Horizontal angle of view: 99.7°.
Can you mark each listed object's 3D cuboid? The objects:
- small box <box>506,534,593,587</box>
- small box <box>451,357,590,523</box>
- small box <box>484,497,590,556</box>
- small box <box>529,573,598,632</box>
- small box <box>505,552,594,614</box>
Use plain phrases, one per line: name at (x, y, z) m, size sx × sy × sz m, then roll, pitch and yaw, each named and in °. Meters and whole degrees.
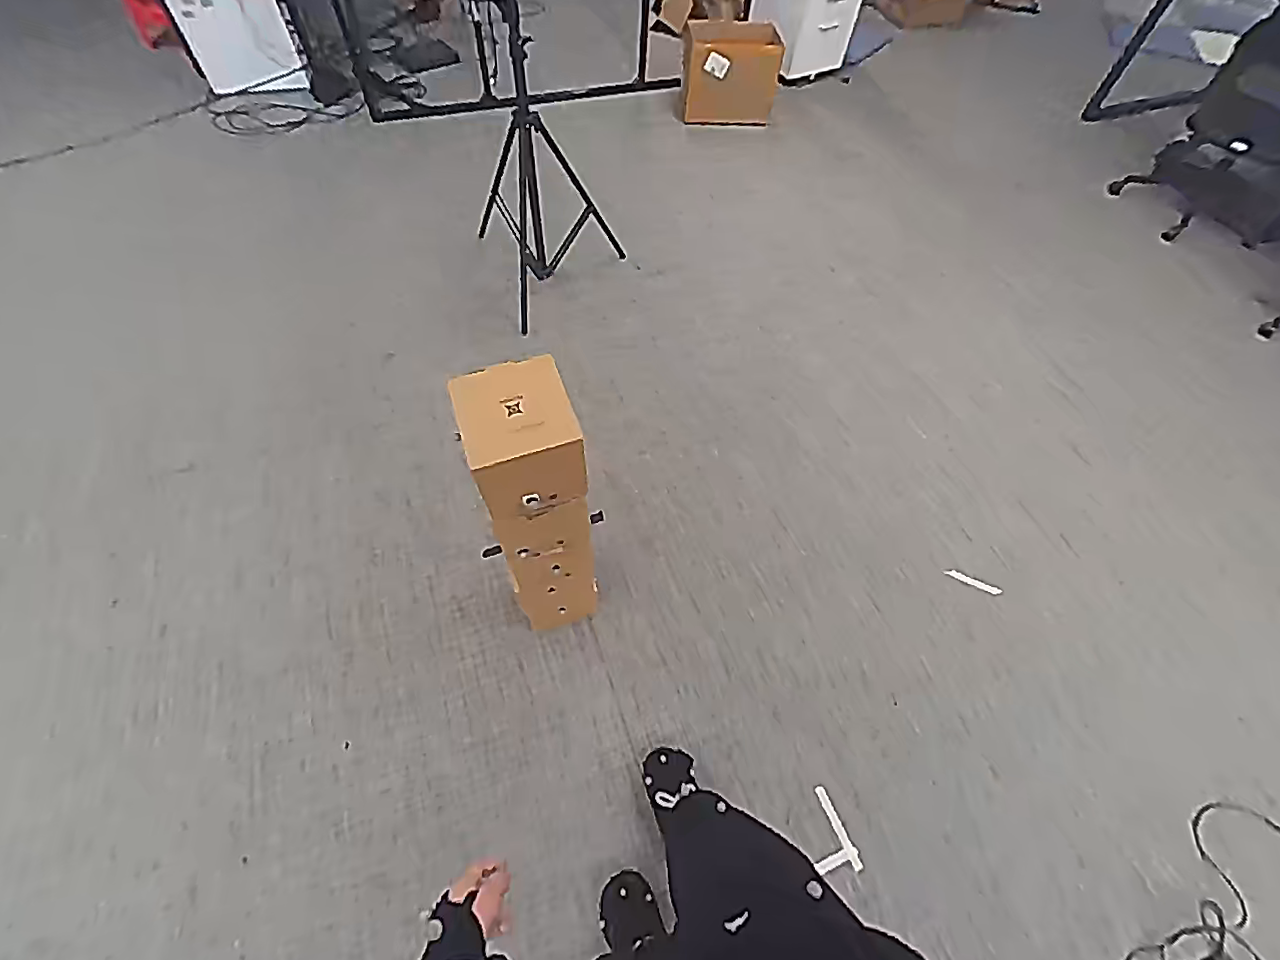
small box at (-0.197, 0.110, 1.134) m, size 0.168 × 0.176 × 0.179 m, roll -14°, pitch 62°, yaw -12°
small box at (-0.183, -0.060, 0.856) m, size 0.168 × 0.176 × 0.179 m, roll -18°, pitch 63°, yaw -12°
small box at (-0.193, 0.024, 0.994) m, size 0.168 × 0.176 × 0.179 m, roll -15°, pitch 60°, yaw -12°
small box at (-0.215, 0.278, 1.415) m, size 0.179 × 0.176 × 0.168 m, roll -16°, pitch 61°, yaw -12°
small box at (-0.212, 0.198, 1.271) m, size 0.179 × 0.176 × 0.168 m, roll -14°, pitch 62°, yaw -11°
